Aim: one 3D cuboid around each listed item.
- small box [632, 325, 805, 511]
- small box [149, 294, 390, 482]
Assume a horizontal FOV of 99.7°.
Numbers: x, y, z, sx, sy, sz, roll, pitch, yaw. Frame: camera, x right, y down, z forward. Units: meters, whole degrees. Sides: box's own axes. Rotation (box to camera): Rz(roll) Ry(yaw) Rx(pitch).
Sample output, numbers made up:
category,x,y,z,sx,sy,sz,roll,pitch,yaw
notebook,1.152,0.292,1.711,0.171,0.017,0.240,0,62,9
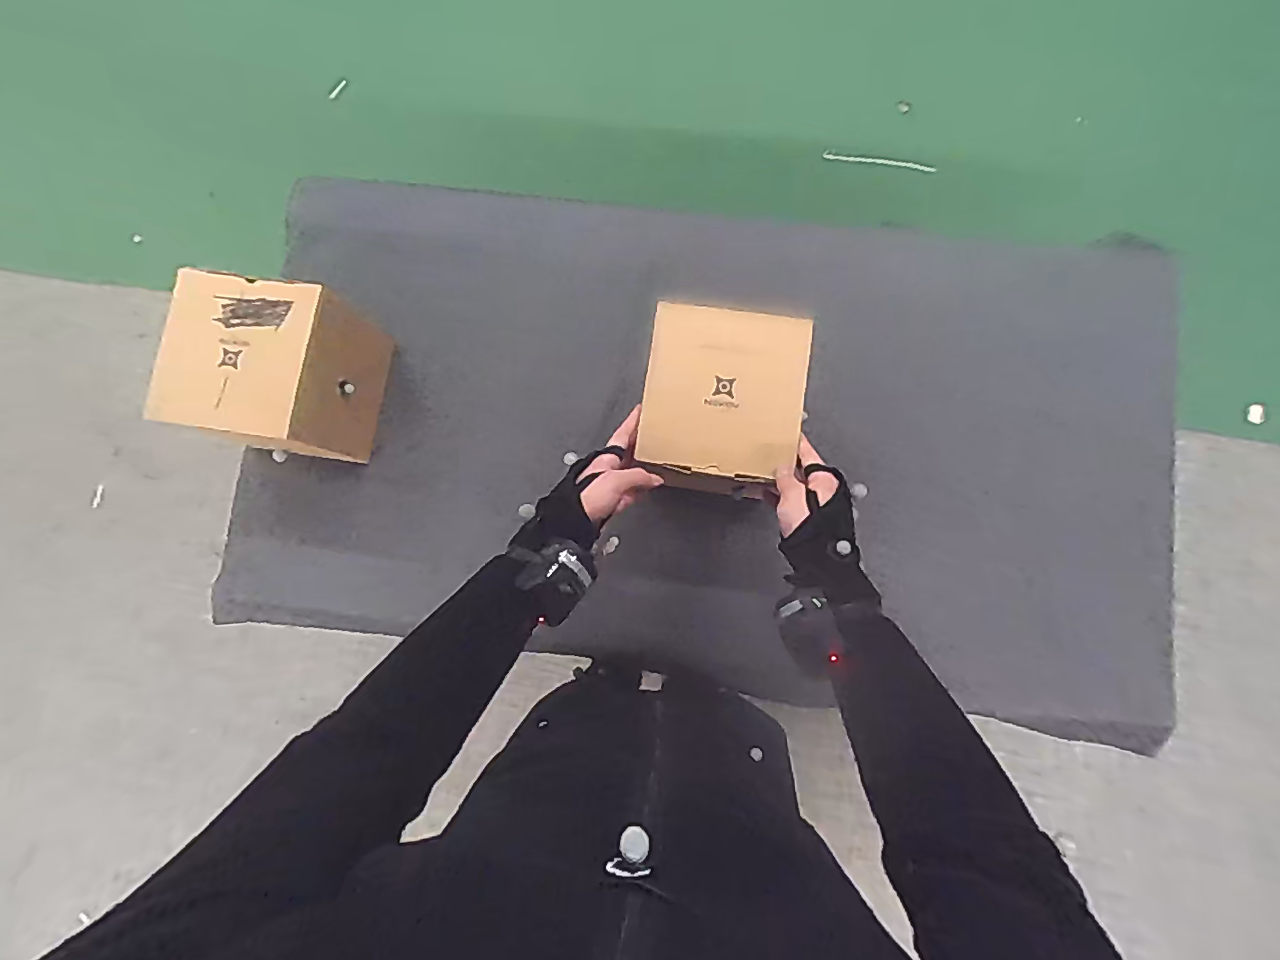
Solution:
category,x,y,z,sx,sy,sz,roll,pitch,yaw
small box,0.086,-0.061,0.646,0.168,0.176,0.179,7,82,2
small box,-0.436,-0.102,0.670,0.168,0.176,0.179,8,83,3
